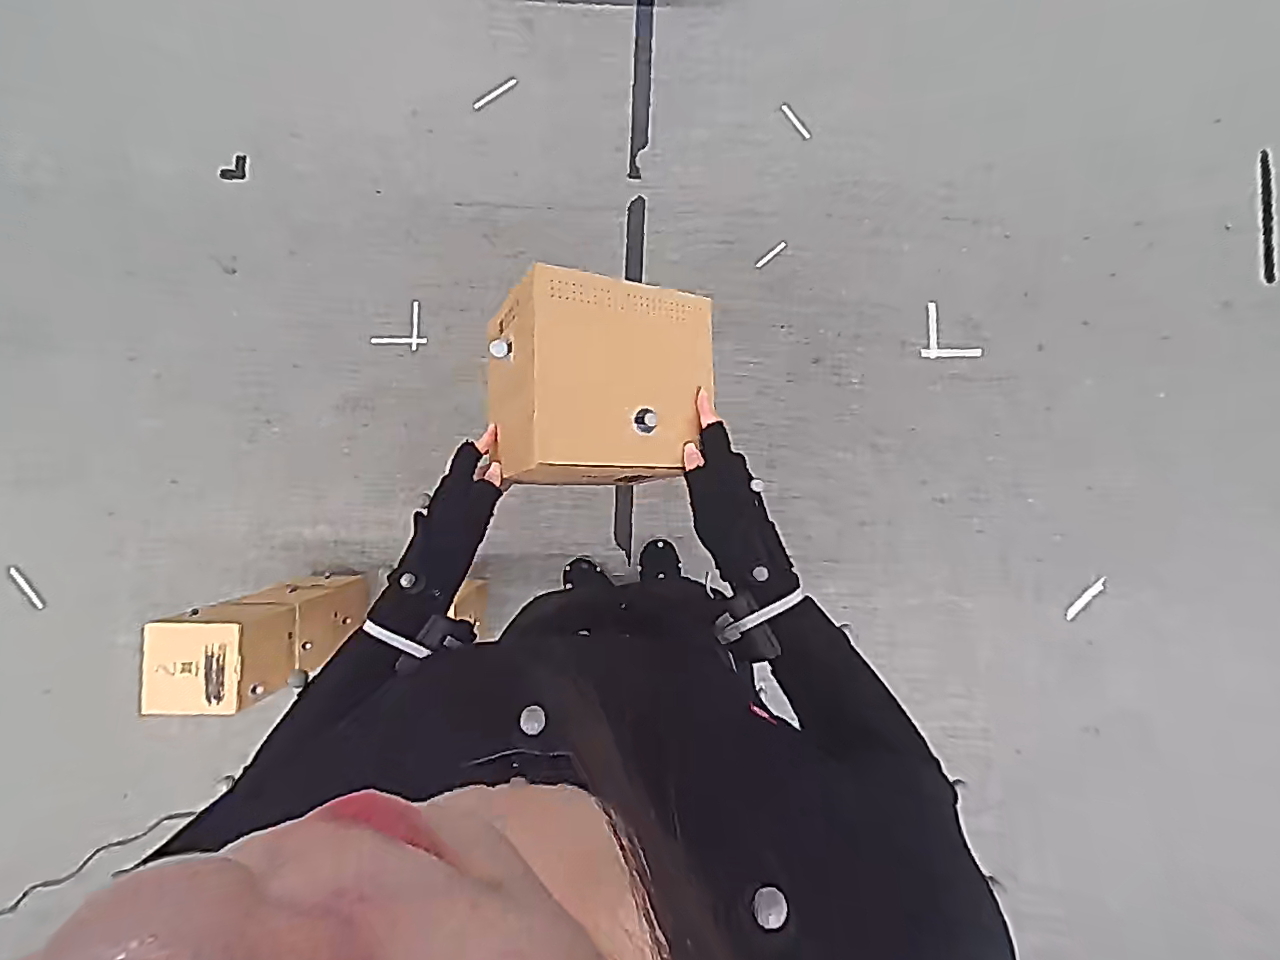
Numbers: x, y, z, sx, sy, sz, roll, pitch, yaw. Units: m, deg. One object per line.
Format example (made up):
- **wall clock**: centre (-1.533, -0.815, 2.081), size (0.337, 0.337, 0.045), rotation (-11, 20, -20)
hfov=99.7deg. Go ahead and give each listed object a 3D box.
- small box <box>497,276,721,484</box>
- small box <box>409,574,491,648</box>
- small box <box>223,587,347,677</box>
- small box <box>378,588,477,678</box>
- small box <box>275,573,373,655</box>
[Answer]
- **small box**: centre (-0.037, -0.085, 0.540), size (0.179, 0.168, 0.176), rotation (1, 85, -29)
- **small box**: centre (-0.492, 0.349, 1.408), size (0.168, 0.176, 0.179), rotation (4, 88, -2)
- **small box**: centre (-0.804, 0.342, 1.236), size (0.179, 0.176, 0.168), rotation (-1, 89, 0)
- **small box**: centre (-0.481, 0.345, 1.246), size (0.179, 0.176, 0.168), rotation (0, 89, -1)
- **small box**: centre (-0.813, 0.343, 1.400), size (0.168, 0.176, 0.179), rotation (0, 88, -1)
